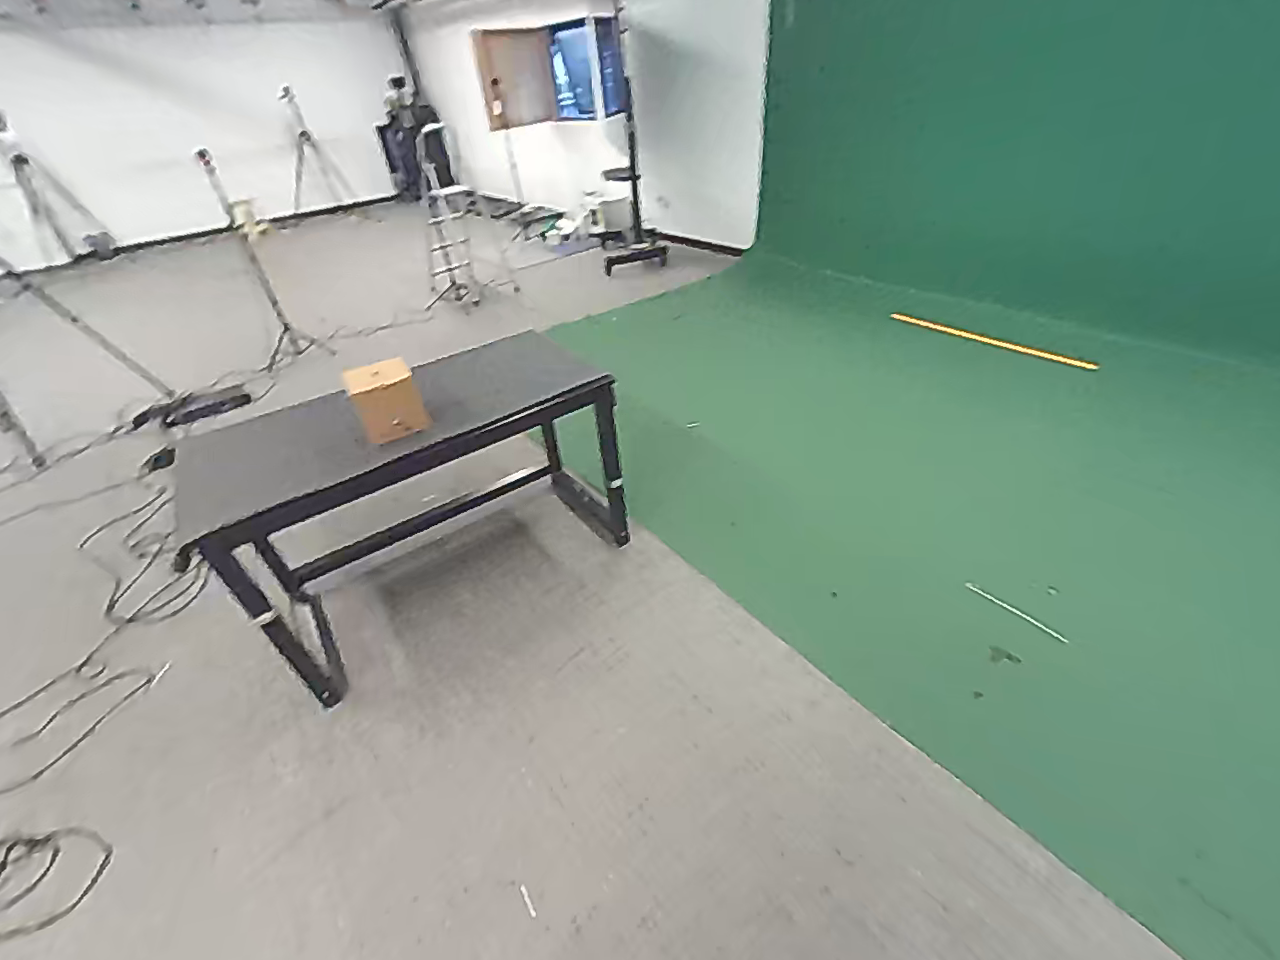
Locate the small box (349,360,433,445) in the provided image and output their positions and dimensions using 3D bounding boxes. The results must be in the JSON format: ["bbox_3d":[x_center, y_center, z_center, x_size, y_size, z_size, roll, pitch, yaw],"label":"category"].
[{"bbox_3d":[-0.722,-0.226,1.571,0.168,0.176,0.179,-23,39,-22],"label":"small box"}]
